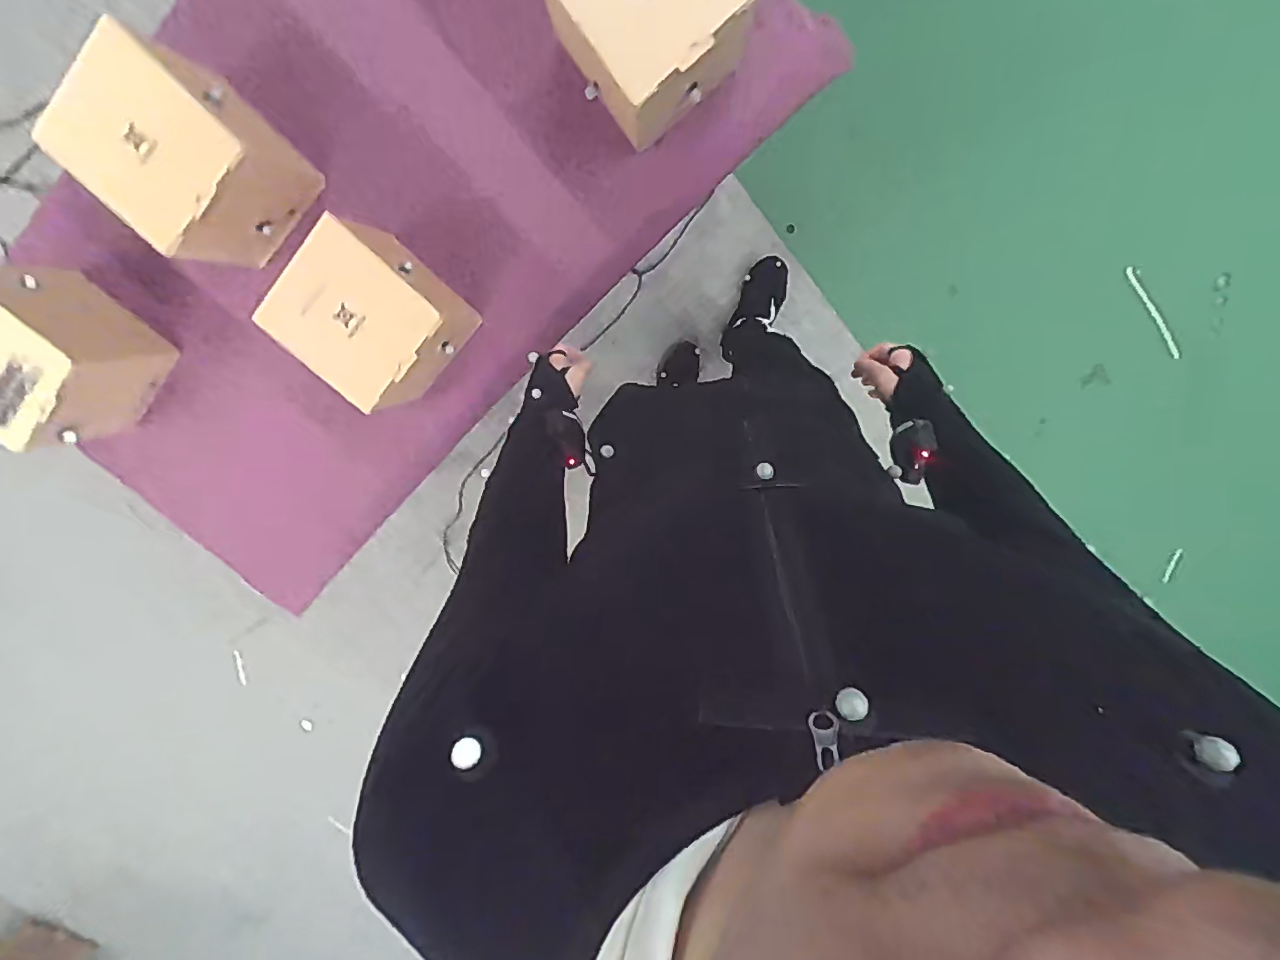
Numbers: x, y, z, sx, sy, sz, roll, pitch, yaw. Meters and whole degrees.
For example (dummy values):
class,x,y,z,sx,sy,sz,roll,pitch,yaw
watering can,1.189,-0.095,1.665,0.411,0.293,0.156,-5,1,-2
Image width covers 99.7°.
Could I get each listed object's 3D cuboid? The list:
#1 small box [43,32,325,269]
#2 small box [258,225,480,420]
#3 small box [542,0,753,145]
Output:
class,x,y,z,sx,sy,sz,roll,pitch,yaw
small box,-0.557,-0.392,0.687,0.168,0.176,0.179,-43,102,12
small box,-0.350,-0.210,0.737,0.179,0.176,0.168,42,102,-9
small box,0.006,-0.529,0.631,0.168,0.176,0.179,-37,102,12
